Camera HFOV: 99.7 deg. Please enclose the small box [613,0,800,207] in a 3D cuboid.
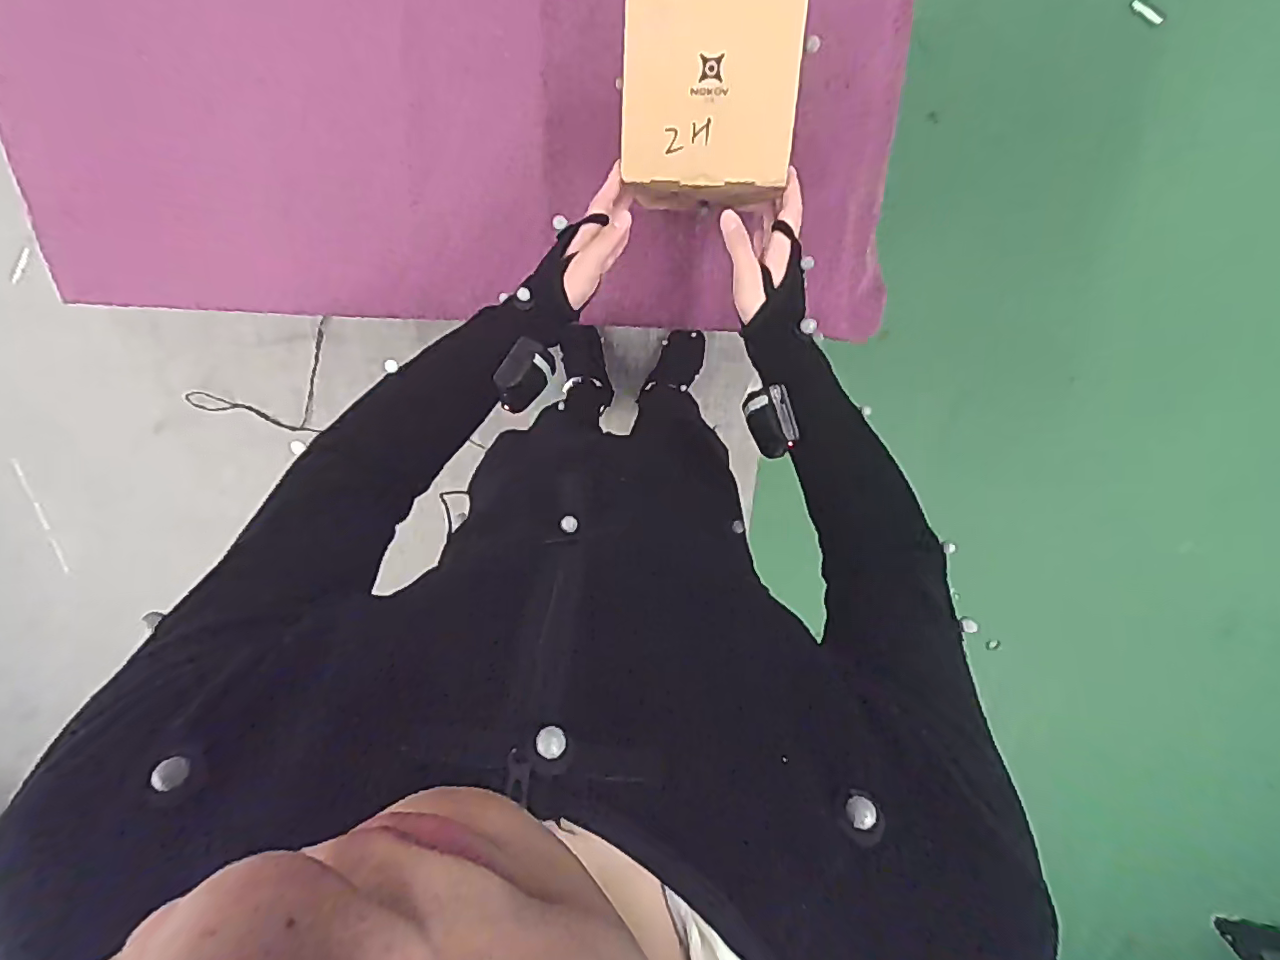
[{"bbox_3d":[0.071,-0.407,0.583,0.168,0.176,0.179,6,111,9],"label":"small box"}]
